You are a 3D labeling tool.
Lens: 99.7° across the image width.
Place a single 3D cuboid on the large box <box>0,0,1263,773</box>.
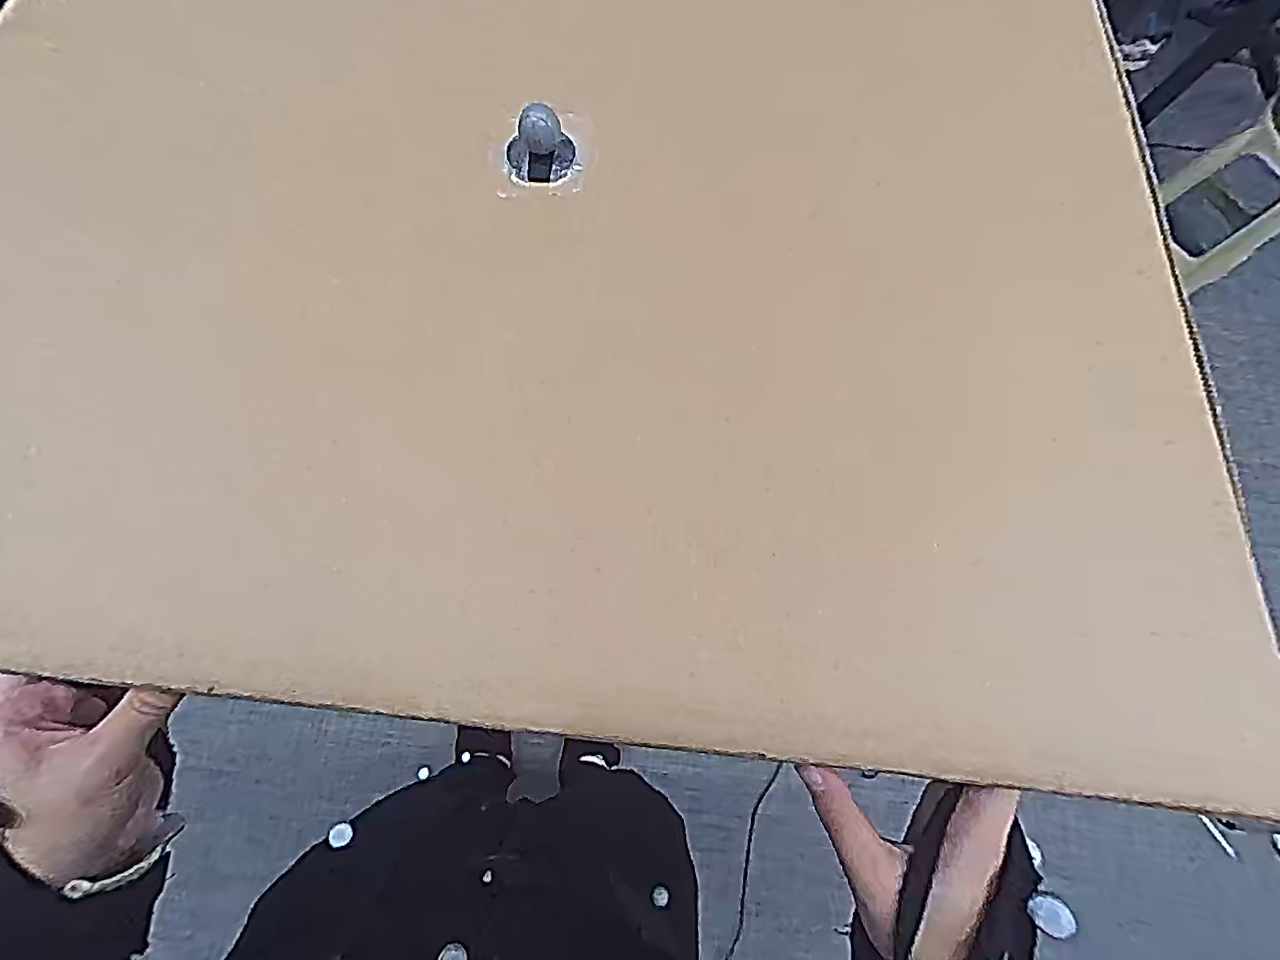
[{"bbox_3d":[-0.051,-0.046,0.311,0.408,0.320,0.320,5,72,1],"label":"large box"}]
